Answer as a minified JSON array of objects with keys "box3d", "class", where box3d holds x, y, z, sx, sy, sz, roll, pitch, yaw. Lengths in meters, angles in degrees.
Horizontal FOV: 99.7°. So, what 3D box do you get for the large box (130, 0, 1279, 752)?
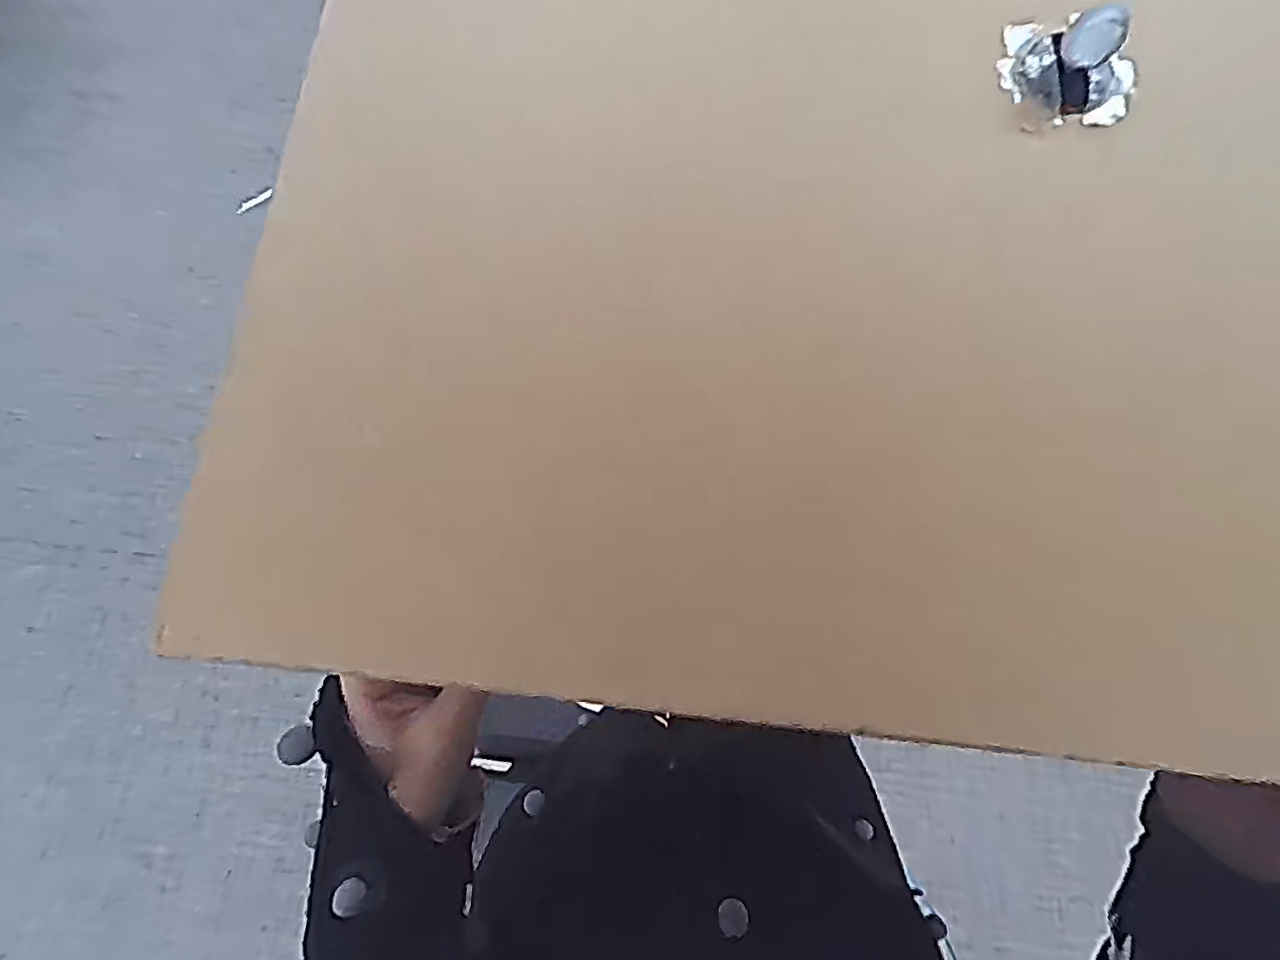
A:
[{"box3d":[0.092,-0.068,0.286,0.408,0.320,0.320,4,80,3],"class":"large box"}]
